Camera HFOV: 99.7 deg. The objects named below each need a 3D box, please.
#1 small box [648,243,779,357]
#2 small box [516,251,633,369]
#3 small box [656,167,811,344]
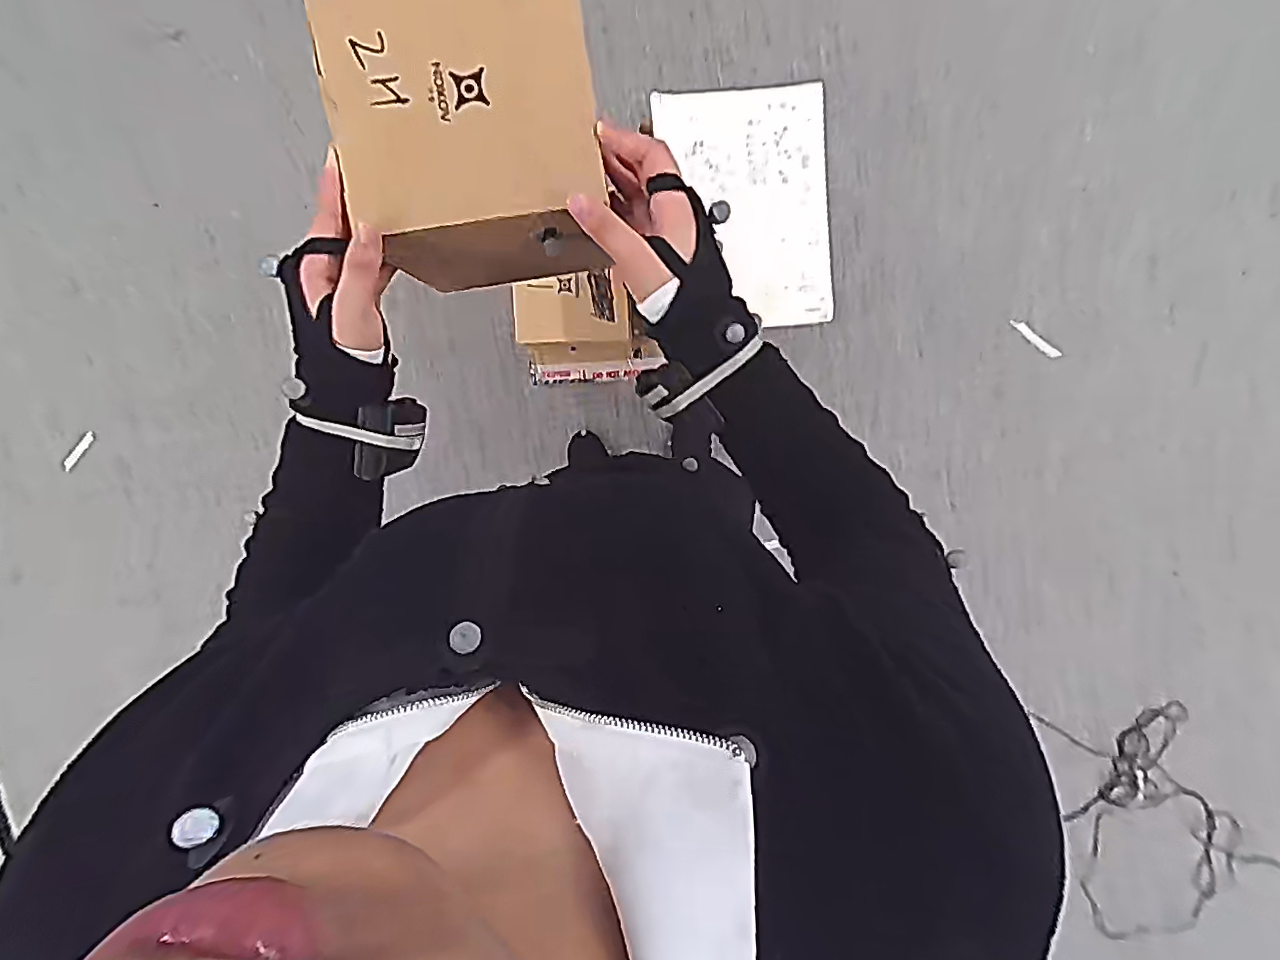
[{"bbox_3d":[0.115,-0.307,0.907,0.179,0.176,0.168,-10,97,-1],"label":"small box"},{"bbox_3d":[-0.100,-0.277,0.905,0.179,0.176,0.168,-1,98,1],"label":"small box"},{"bbox_3d":[0.118,-0.295,0.744,0.168,0.176,0.179,-8,97,-2],"label":"small box"}]
